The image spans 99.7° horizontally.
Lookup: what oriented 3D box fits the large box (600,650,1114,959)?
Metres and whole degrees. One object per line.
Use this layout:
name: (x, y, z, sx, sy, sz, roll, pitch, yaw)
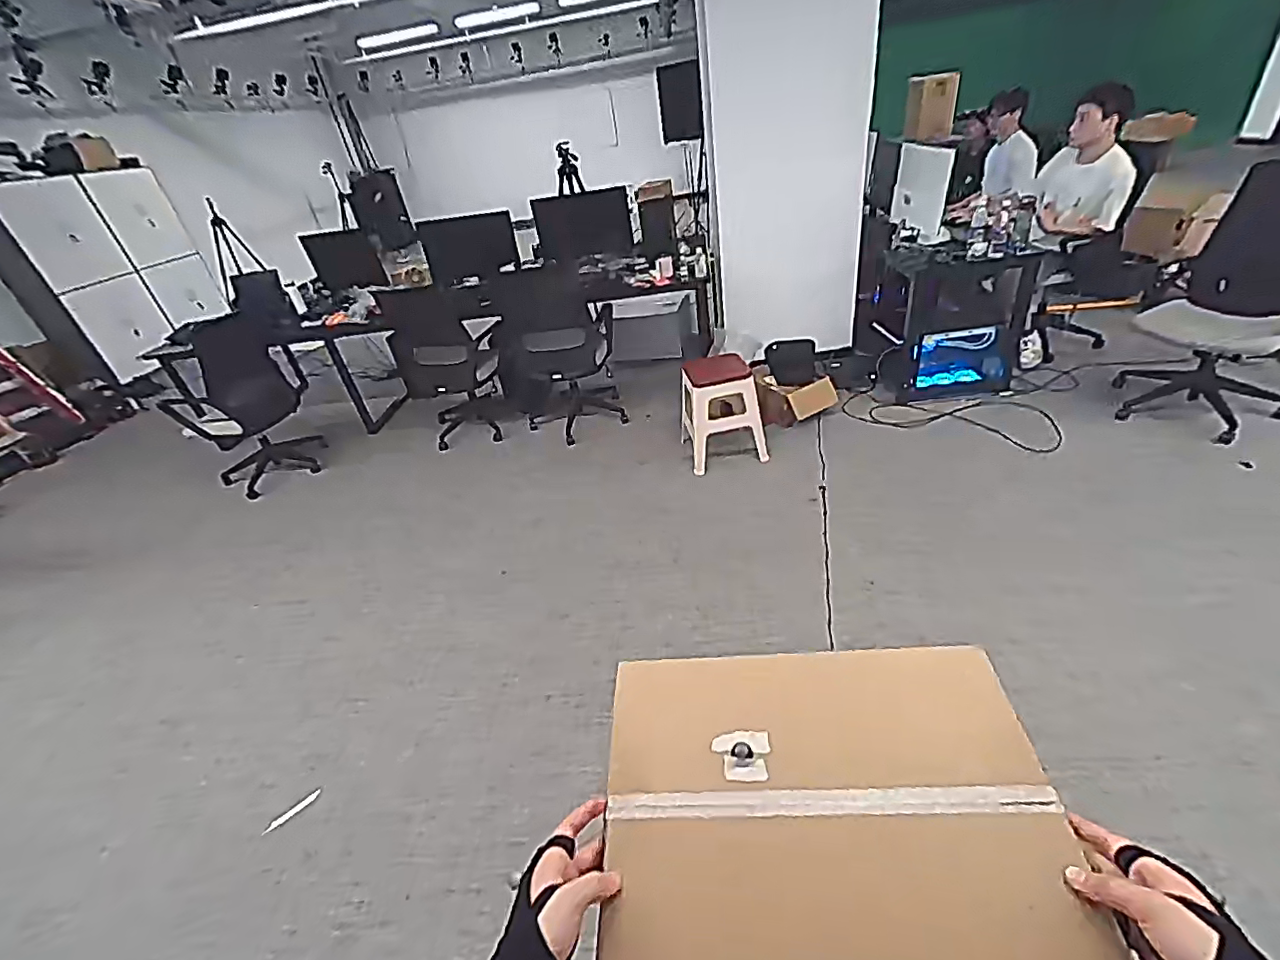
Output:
large box: (0.192, 0.420, 0.609, 0.408, 0.320, 0.320, -6, 40, 8)
